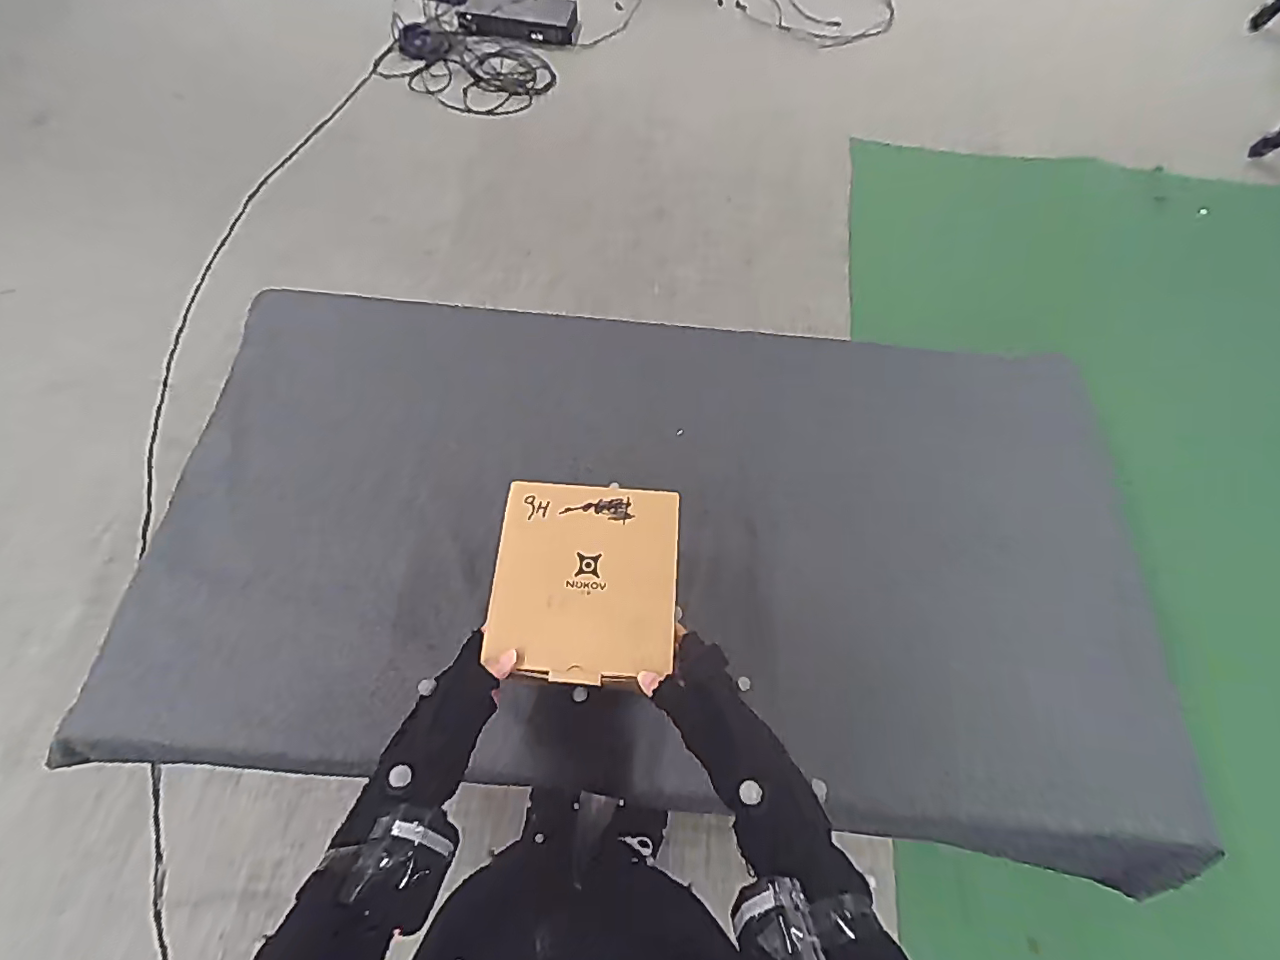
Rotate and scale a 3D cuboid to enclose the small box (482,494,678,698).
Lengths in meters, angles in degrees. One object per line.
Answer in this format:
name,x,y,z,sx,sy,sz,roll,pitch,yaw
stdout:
small box,-0.051,0.129,0.565,0.168,0.176,0.179,4,67,0
